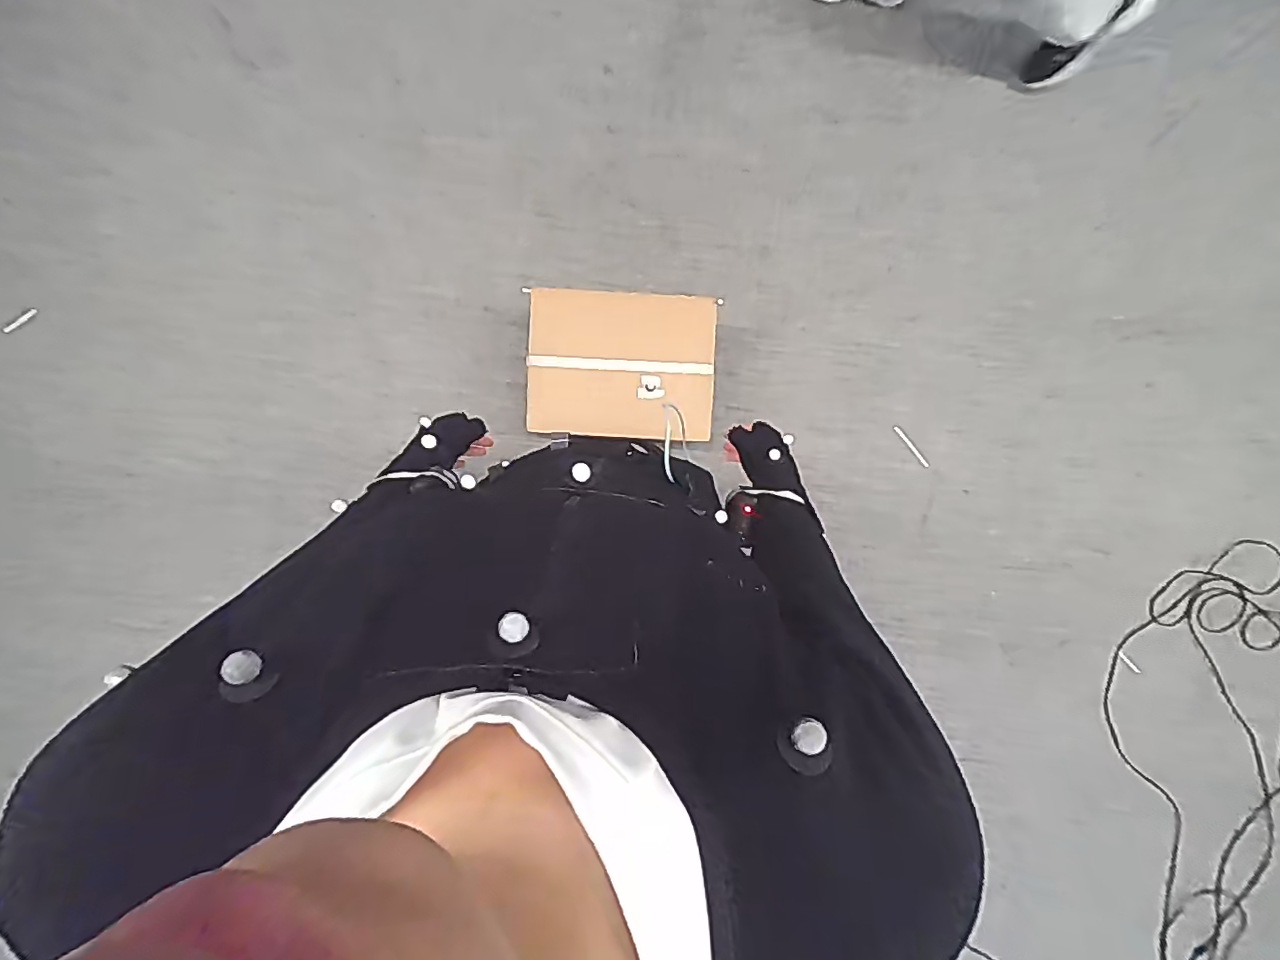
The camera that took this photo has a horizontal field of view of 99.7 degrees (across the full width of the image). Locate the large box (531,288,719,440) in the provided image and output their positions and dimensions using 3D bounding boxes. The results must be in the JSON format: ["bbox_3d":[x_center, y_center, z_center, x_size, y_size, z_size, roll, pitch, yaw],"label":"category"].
[{"bbox_3d":[-0.038,-0.260,1.318,0.408,0.320,0.320,3,94,-1],"label":"large box"}]
